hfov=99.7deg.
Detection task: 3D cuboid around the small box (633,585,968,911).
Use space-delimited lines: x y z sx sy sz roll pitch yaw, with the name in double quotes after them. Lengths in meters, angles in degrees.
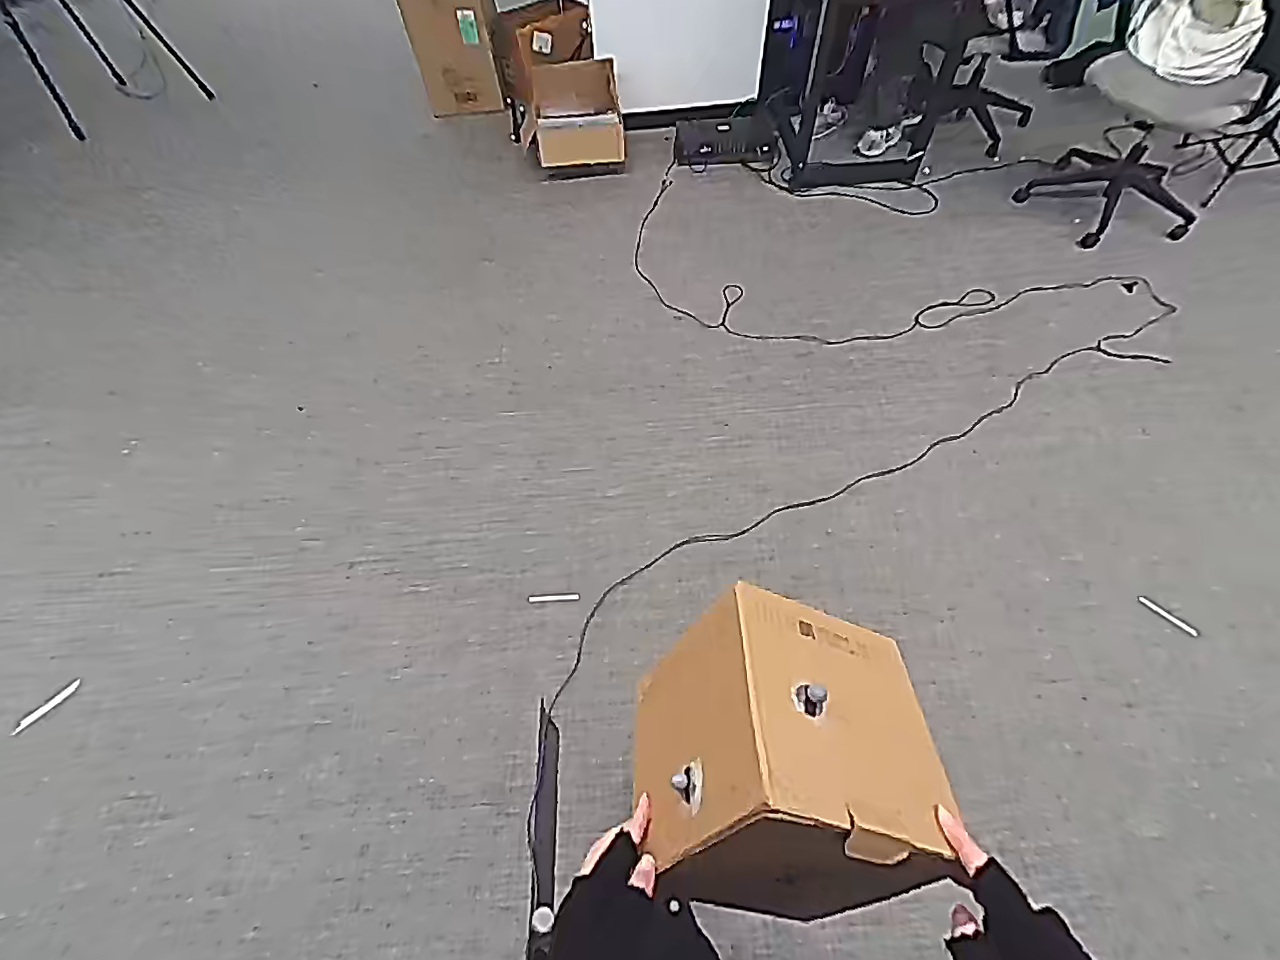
0.106 0.214 0.438 0.168 0.179 0.176 24 36 -15 "small box"
